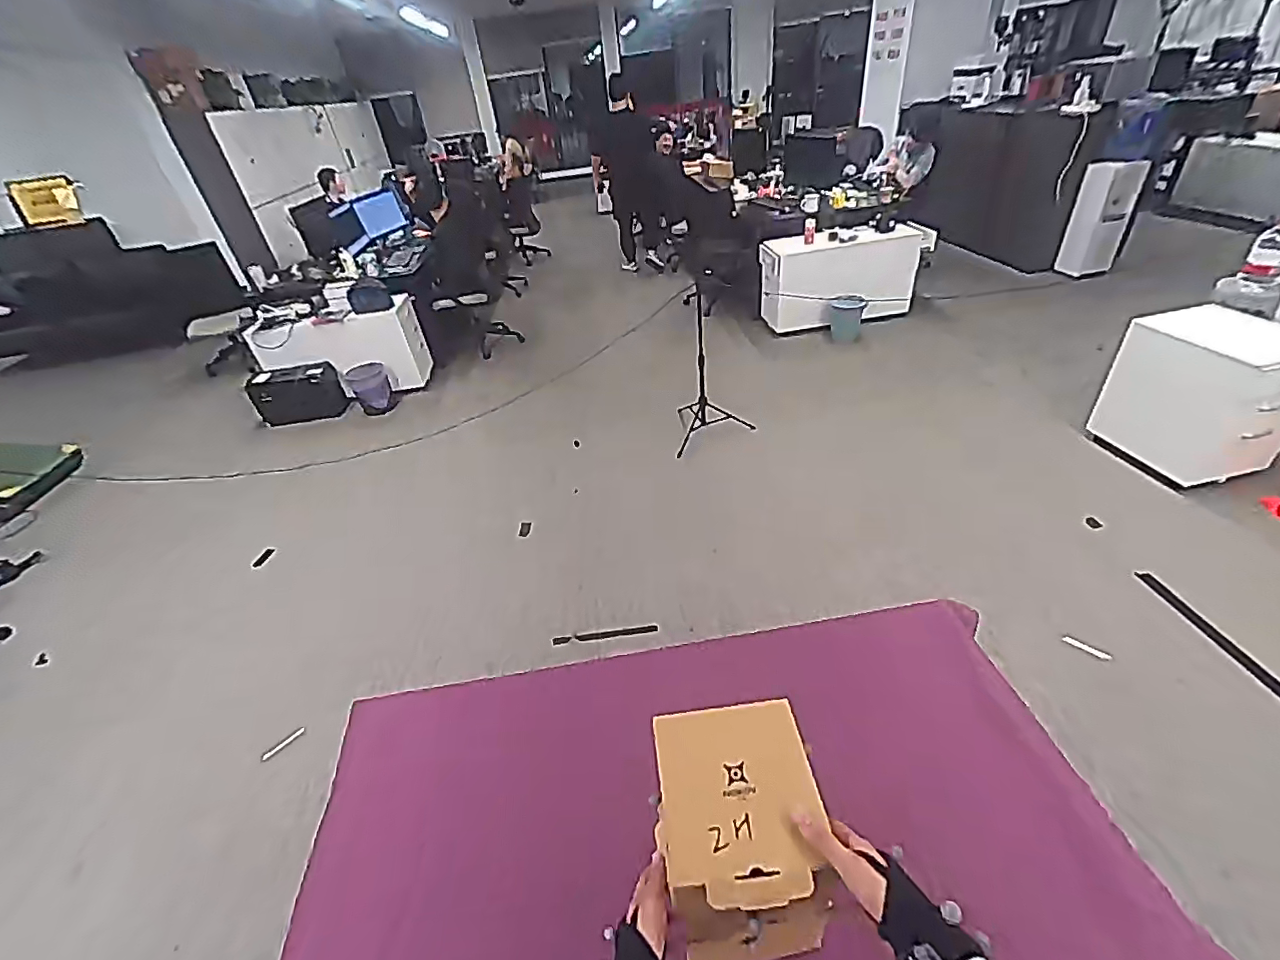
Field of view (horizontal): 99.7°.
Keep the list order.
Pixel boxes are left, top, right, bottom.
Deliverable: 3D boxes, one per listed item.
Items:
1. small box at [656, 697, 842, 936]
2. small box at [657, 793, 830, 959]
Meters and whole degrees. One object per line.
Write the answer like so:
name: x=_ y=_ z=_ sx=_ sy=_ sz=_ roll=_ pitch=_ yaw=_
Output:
small box: x=0.112 y=0.384 z=0.624 sx=0.168 sy=0.176 sz=0.179 roll=-8 pitch=37 yaw=0
small box: x=0.131 y=0.518 z=0.720 sx=0.179 sy=0.176 sz=0.168 roll=-11 pitch=37 yaw=-5
